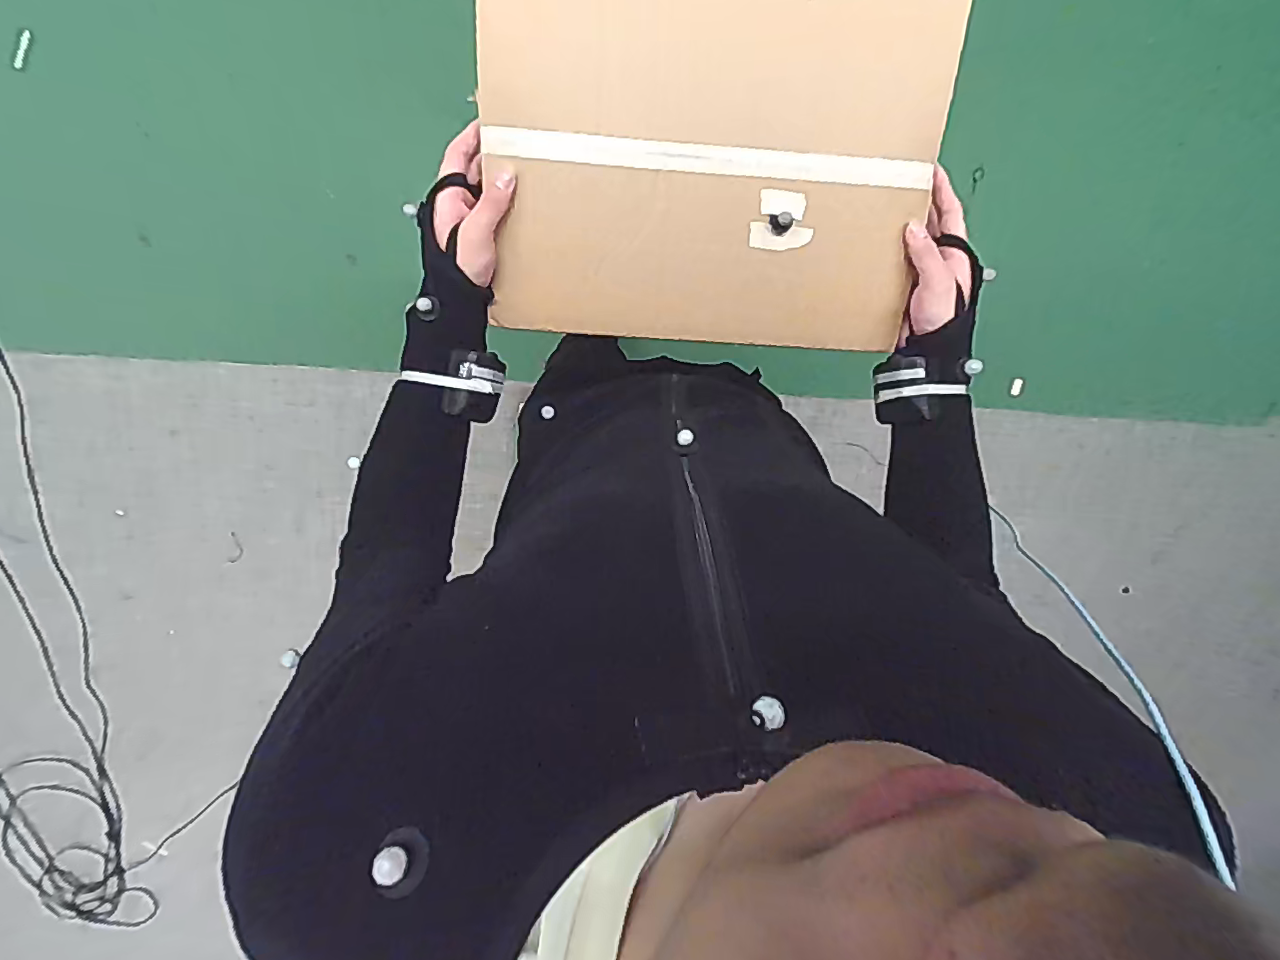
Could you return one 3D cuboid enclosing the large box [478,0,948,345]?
[{"bbox_3d":[0.050,-0.337,0.633,0.408,0.320,0.320,2,110,-4],"label":"large box"}]
